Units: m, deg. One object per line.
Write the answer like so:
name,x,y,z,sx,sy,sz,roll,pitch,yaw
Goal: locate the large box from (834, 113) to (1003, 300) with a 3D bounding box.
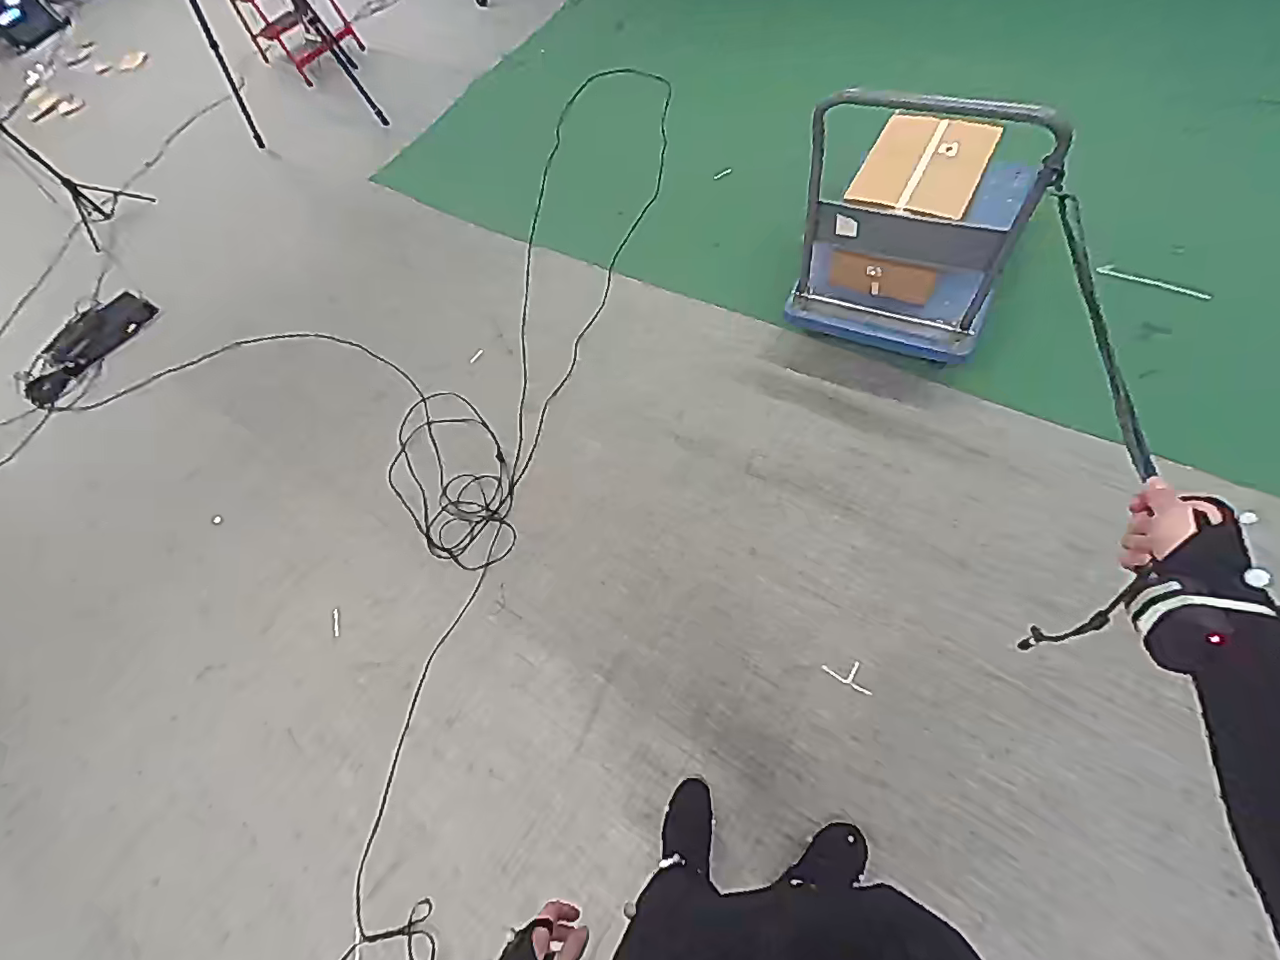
large box,0.825,-0.824,1.642,0.320,0.320,0.408,25,70,21
